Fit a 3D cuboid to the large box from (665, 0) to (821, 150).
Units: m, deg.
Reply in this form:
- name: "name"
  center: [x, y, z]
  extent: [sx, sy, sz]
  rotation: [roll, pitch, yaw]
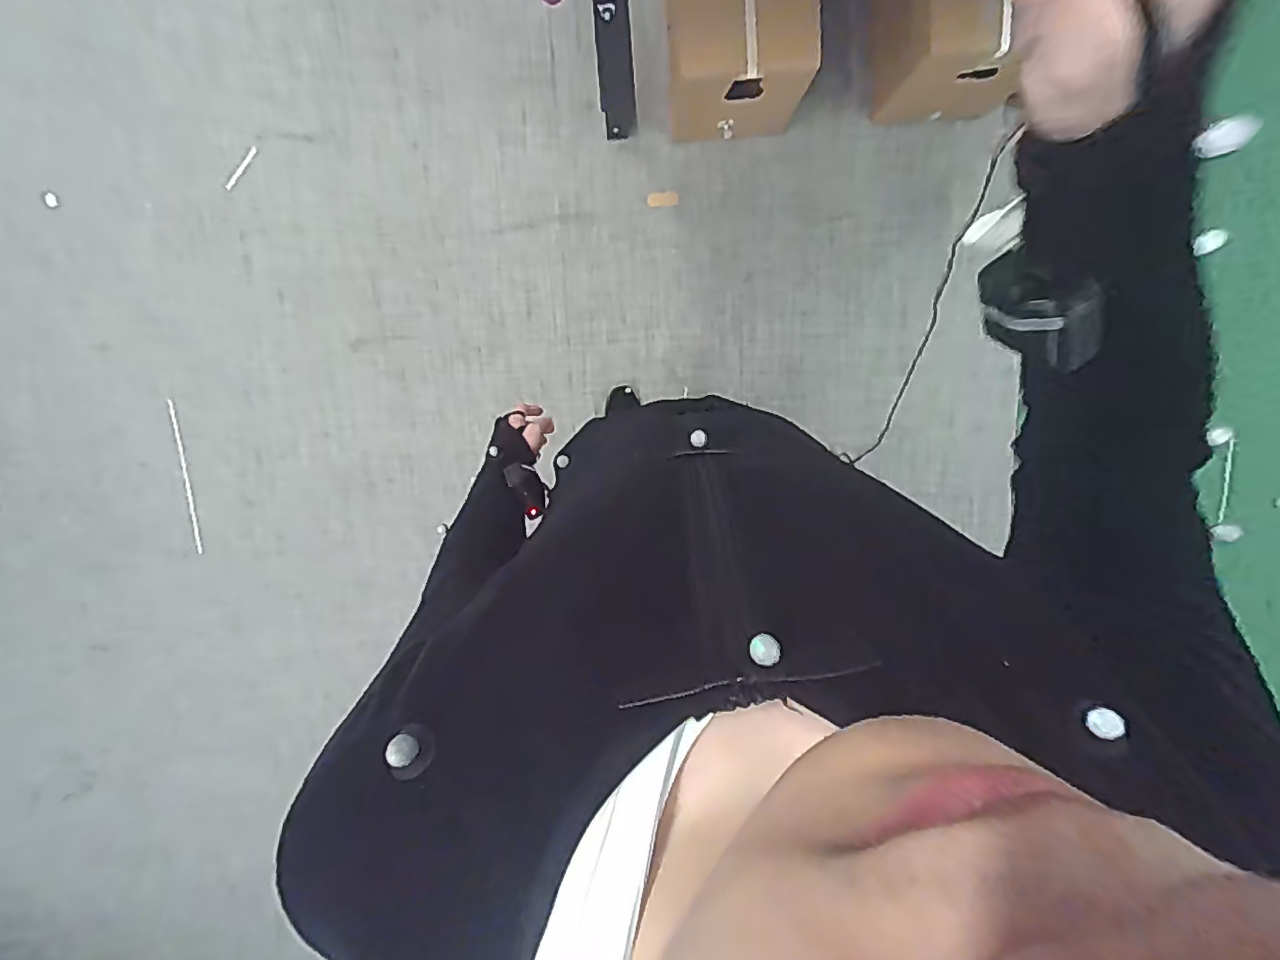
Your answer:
- name: "large box"
  center: [0.231, -1.099, 1.317]
  extent: [0.320, 0.320, 0.408]
  rotation: [-5, 98, 0]
